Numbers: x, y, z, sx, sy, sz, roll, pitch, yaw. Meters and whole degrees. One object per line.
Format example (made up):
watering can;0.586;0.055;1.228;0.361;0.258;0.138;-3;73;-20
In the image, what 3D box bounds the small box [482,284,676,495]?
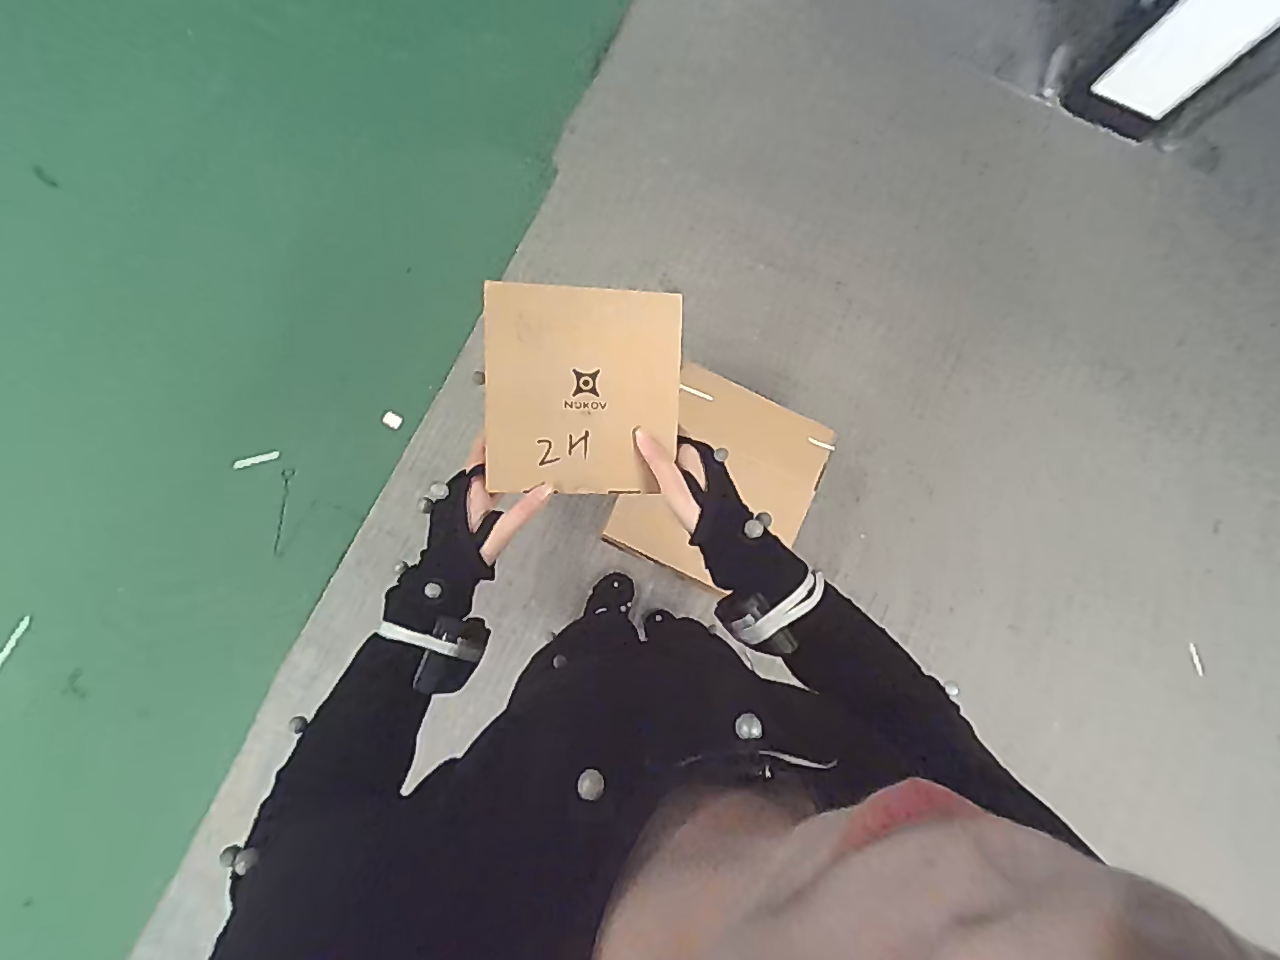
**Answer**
small box;-0.065;-0.084;0.537;0.168;0.176;0.179;-1;99;-9
